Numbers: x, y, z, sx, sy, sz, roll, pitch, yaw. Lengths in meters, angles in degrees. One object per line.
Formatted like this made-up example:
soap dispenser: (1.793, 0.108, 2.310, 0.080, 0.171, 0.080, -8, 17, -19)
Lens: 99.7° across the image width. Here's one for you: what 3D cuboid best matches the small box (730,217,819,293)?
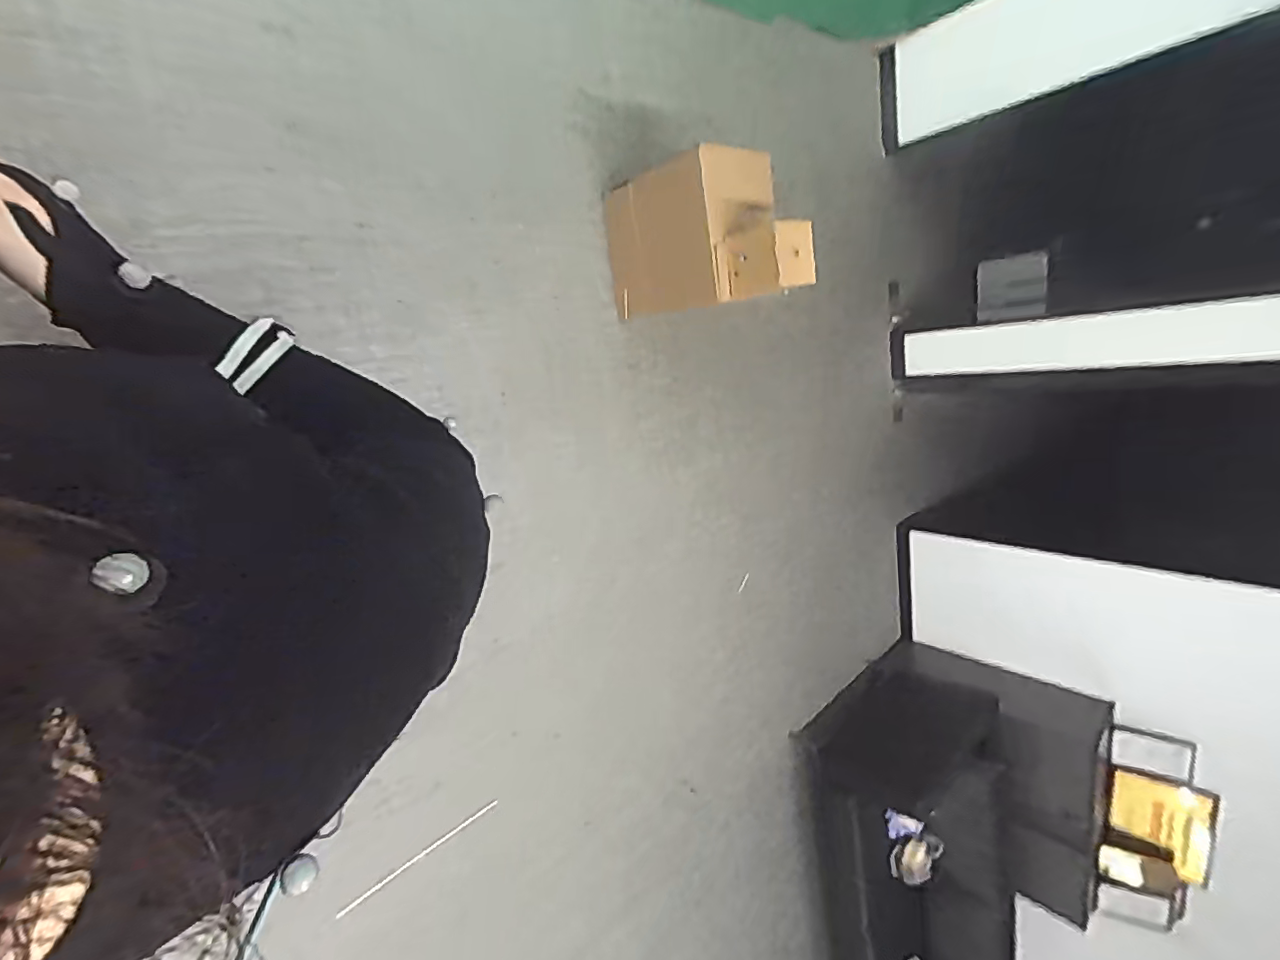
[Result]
small box: (0.378, -0.630, 1.519, 0.179, 0.176, 0.168, -22, 108, -36)
